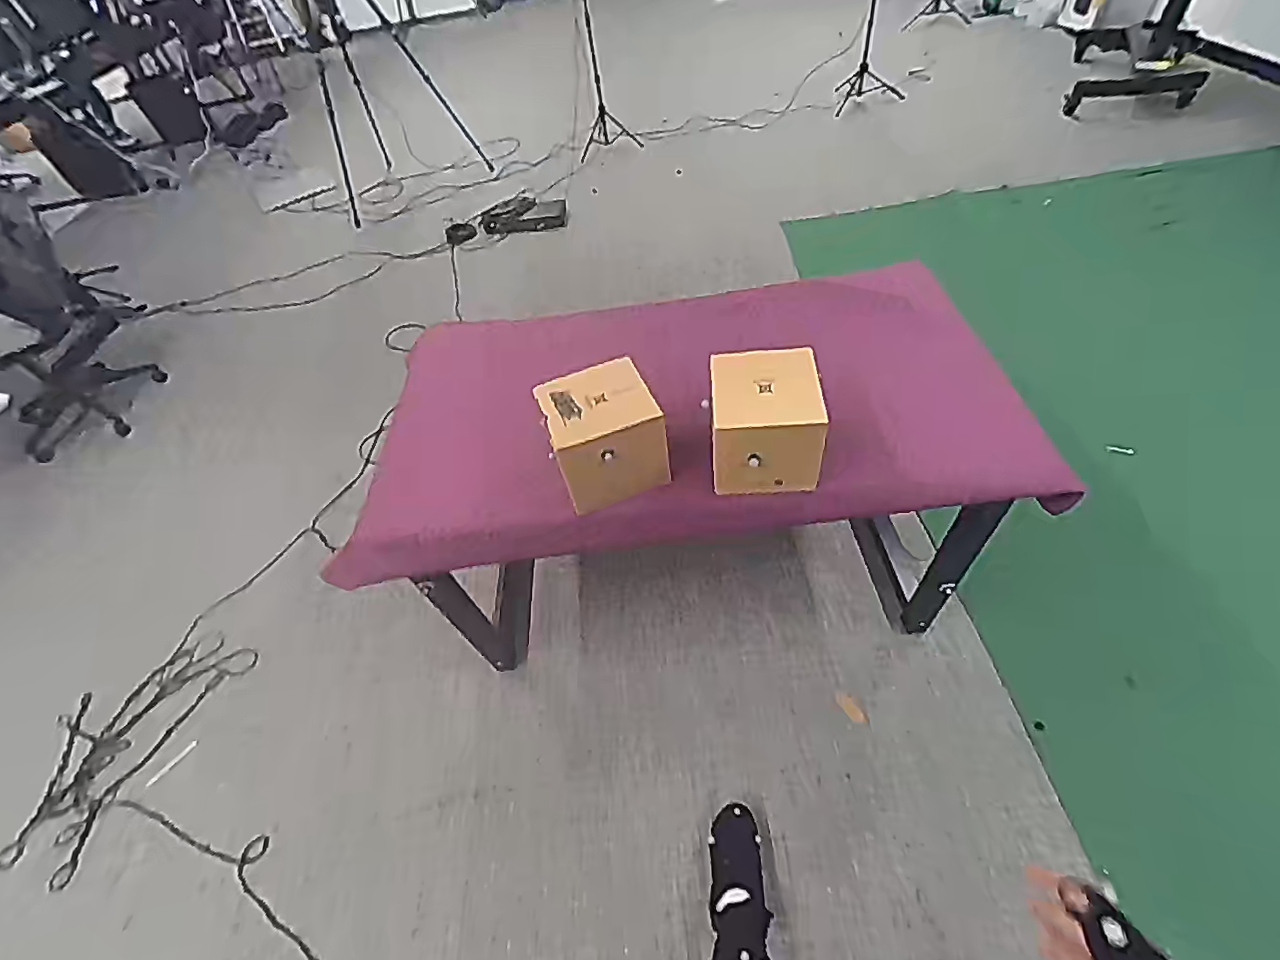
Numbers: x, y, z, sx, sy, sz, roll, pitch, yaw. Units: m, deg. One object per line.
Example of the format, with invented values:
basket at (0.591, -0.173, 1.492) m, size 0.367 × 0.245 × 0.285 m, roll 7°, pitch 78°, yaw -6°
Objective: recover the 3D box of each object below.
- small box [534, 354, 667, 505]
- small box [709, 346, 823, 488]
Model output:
small box at (-0.064, -0.082, 0.930) m, size 0.179 × 0.176 × 0.168 m, roll -19°, pitch 50°, yaw -8°
small box at (0.203, -0.098, 0.903) m, size 0.168 × 0.176 × 0.179 m, roll -2°, pitch 50°, yaw 8°
